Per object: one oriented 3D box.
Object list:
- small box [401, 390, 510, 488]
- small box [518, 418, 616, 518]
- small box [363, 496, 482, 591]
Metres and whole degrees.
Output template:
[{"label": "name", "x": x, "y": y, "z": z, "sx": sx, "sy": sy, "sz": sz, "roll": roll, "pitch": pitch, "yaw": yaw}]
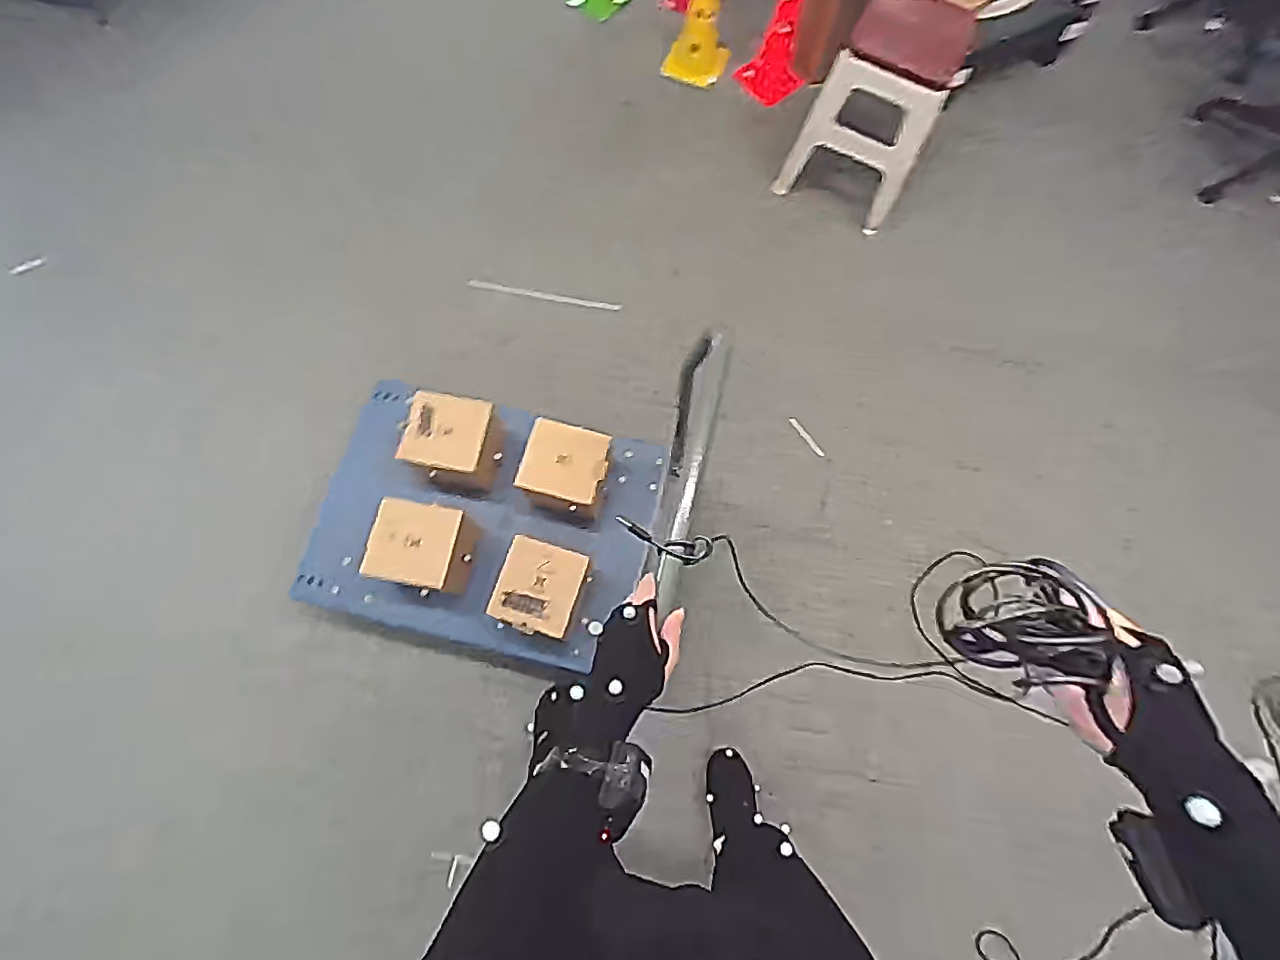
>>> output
[{"label": "small box", "x": -0.423, "y": -0.089, "z": 1.269, "sx": 0.179, "sy": 0.176, "sz": 0.168, "roll": 11, "pitch": 75, "yaw": 1}, {"label": "small box", "x": -0.162, "y": -0.020, "z": 1.259, "sx": 0.179, "sy": 0.176, "sz": 0.168, "roll": 16, "pitch": 75, "yaw": 2}, {"label": "small box", "x": -0.469, "y": 0.148, "z": 1.201, "sx": 0.179, "sy": 0.176, "sz": 0.168, "roll": 11, "pitch": 73, "yaw": 1}]
